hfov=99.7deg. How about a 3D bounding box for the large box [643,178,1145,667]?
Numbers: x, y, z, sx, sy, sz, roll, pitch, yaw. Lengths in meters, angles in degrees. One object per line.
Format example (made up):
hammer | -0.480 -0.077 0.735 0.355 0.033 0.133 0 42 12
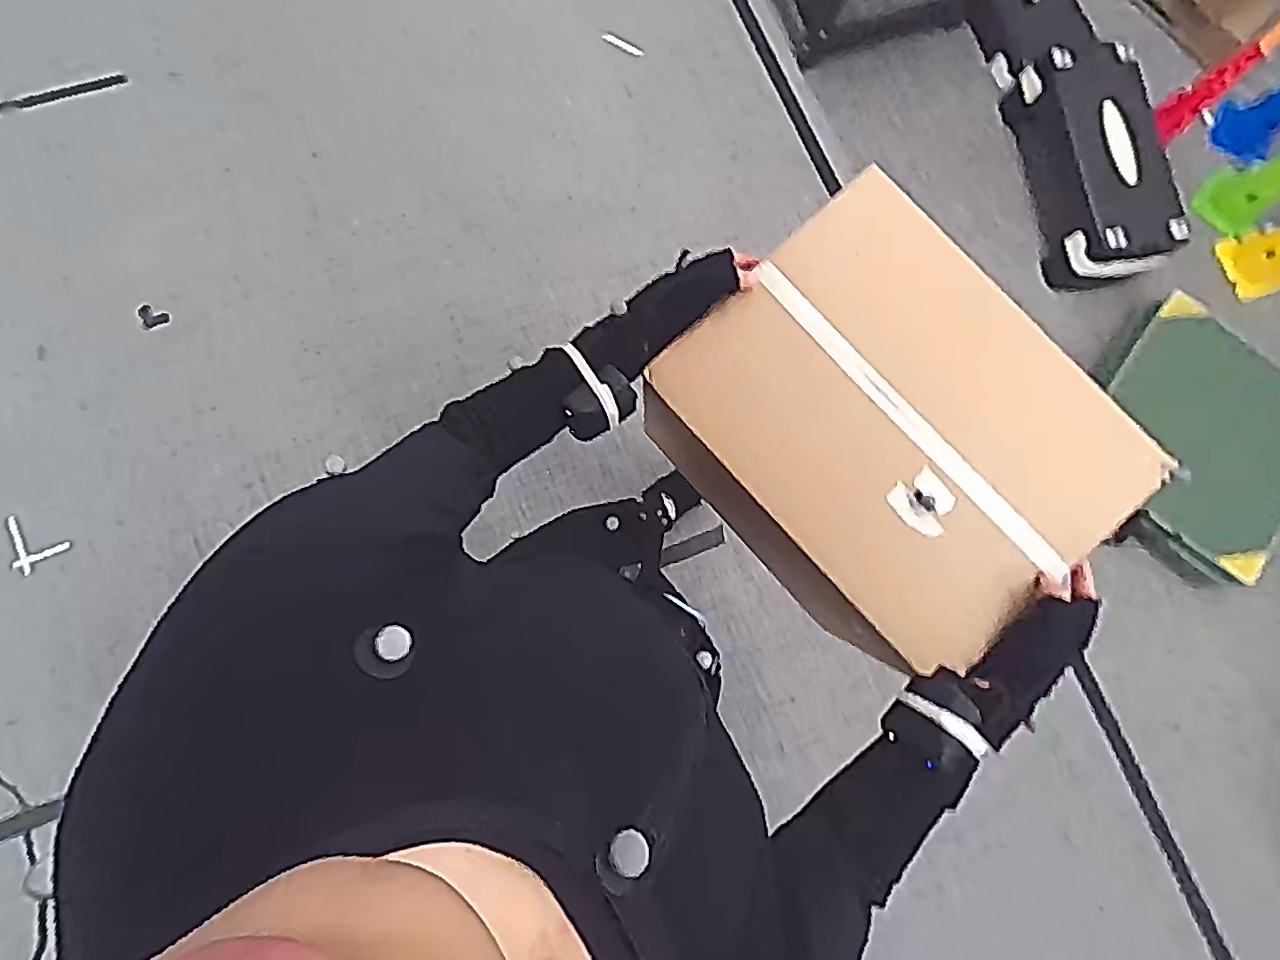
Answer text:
large box | 0.248 -0.055 0.677 0.320 0.320 0.408 -42 87 -3
